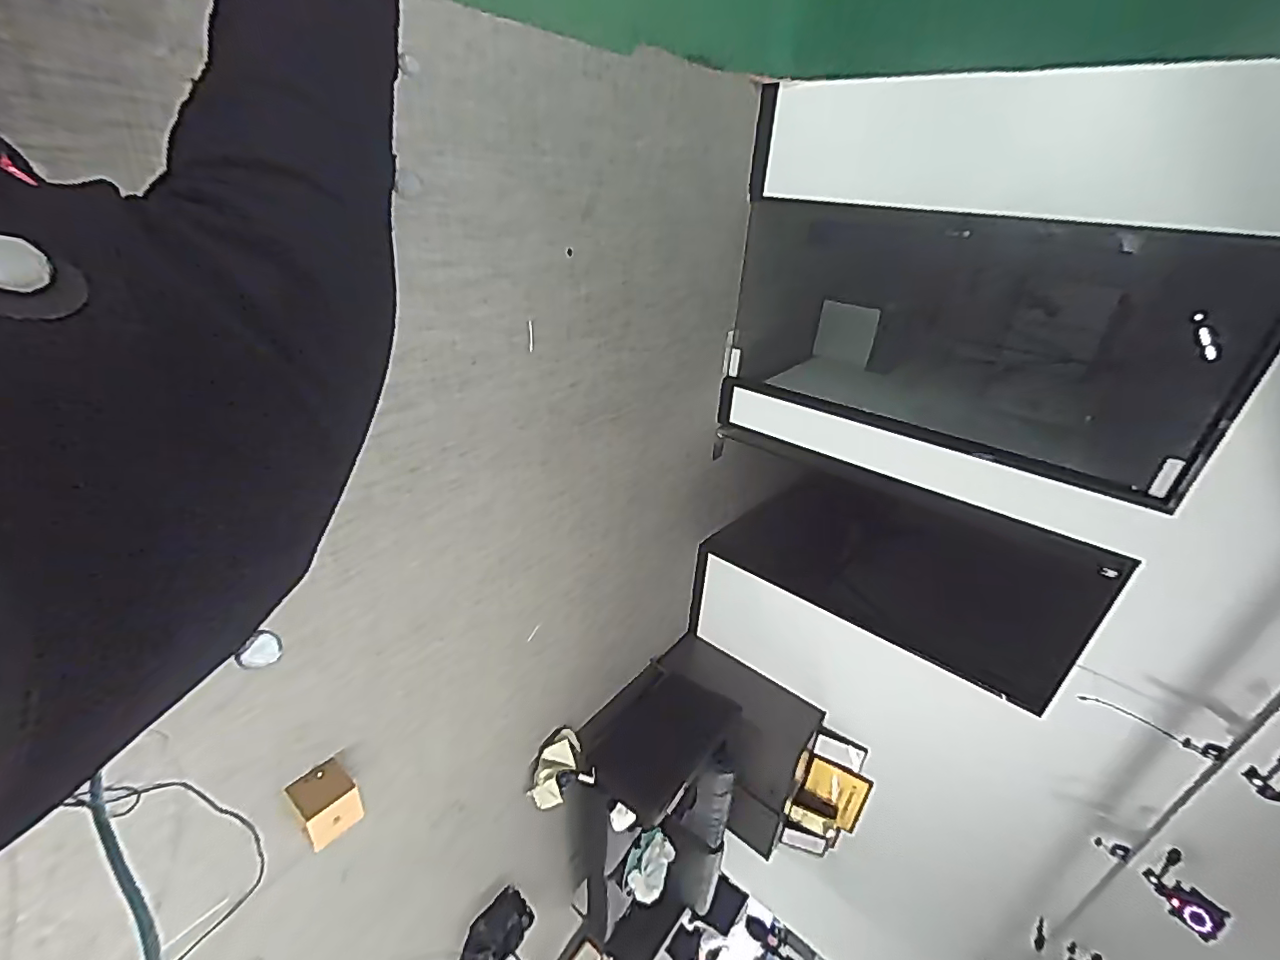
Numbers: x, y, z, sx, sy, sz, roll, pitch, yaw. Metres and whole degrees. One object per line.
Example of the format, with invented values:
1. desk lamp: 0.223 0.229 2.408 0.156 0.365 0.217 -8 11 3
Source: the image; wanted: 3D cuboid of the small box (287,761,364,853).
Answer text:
1. small box: -1.079 1.114 1.857 0.168 0.176 0.179 -27 131 -47
